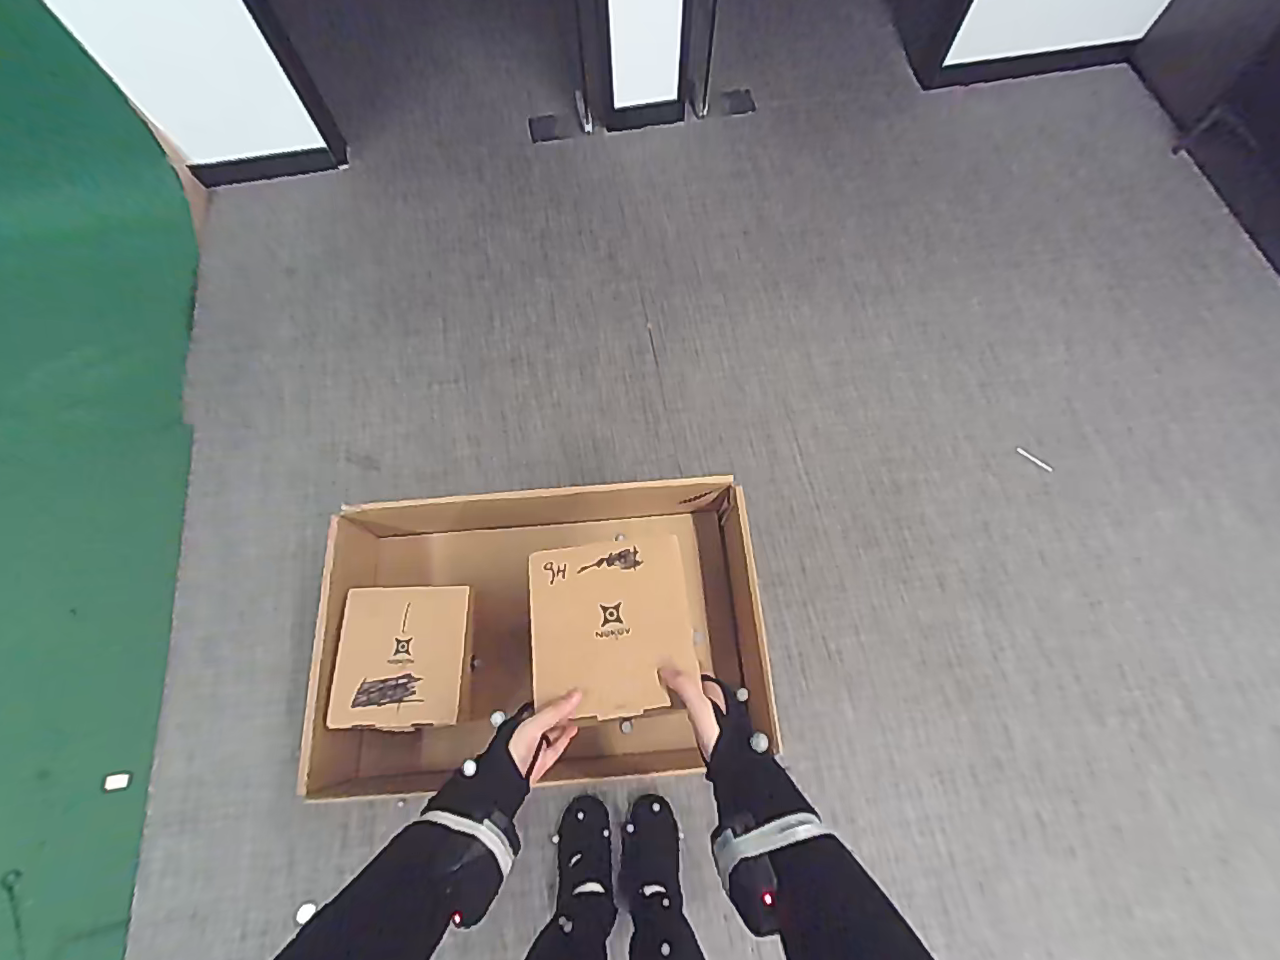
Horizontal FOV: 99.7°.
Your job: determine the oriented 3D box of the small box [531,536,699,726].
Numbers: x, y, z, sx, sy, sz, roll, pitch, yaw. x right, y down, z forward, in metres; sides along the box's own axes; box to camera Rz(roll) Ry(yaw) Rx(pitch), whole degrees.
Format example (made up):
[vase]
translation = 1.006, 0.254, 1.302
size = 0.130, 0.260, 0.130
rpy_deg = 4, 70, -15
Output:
[small box]
translation = -0.026, 0.179, 0.626
size = 0.168, 0.176, 0.179
rpy_deg = -6, 66, -1
